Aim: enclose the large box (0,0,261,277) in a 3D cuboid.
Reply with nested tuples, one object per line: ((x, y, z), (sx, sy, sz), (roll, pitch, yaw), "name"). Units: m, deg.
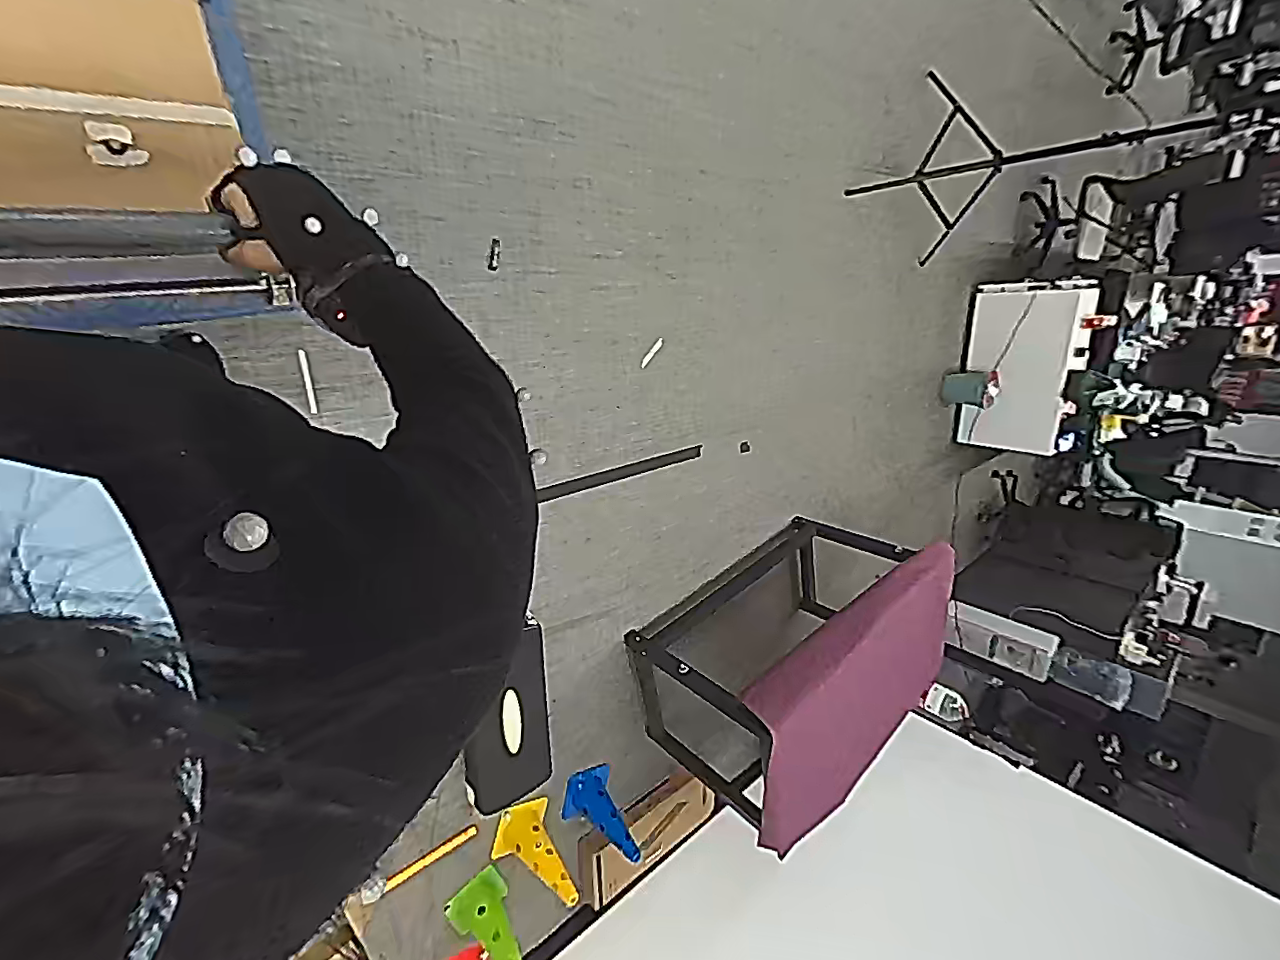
((-0.816, -0.462, 0.738), (0.408, 0.320, 0.320), (-20, 114, -37), "large box")
